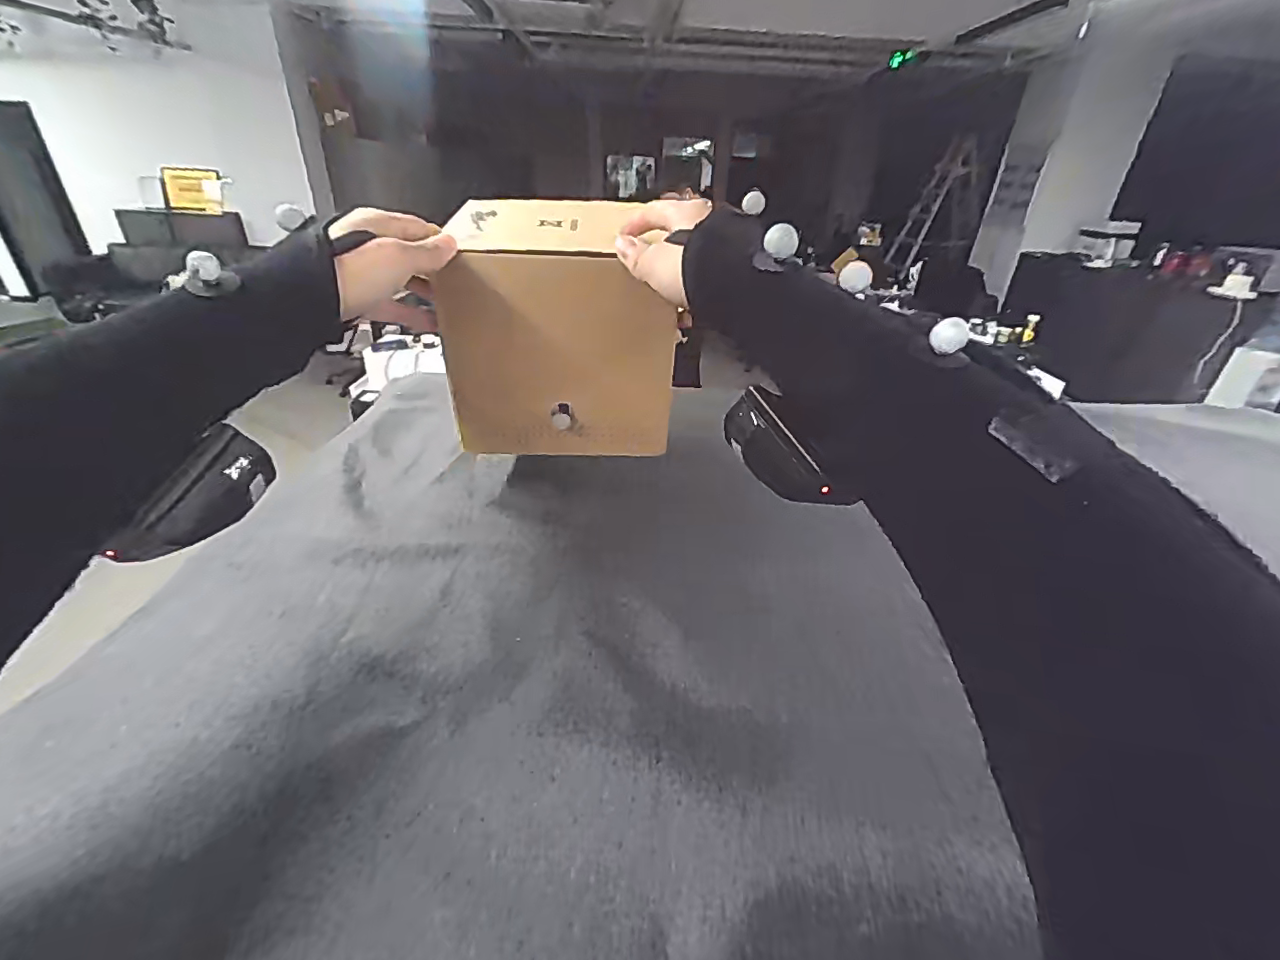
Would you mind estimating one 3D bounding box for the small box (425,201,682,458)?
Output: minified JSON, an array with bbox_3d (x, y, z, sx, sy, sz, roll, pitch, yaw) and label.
[{"bbox_3d":[-0.066,-0.131,0.476,0.179,0.176,0.168,1,37,-5],"label":"small box"}]
